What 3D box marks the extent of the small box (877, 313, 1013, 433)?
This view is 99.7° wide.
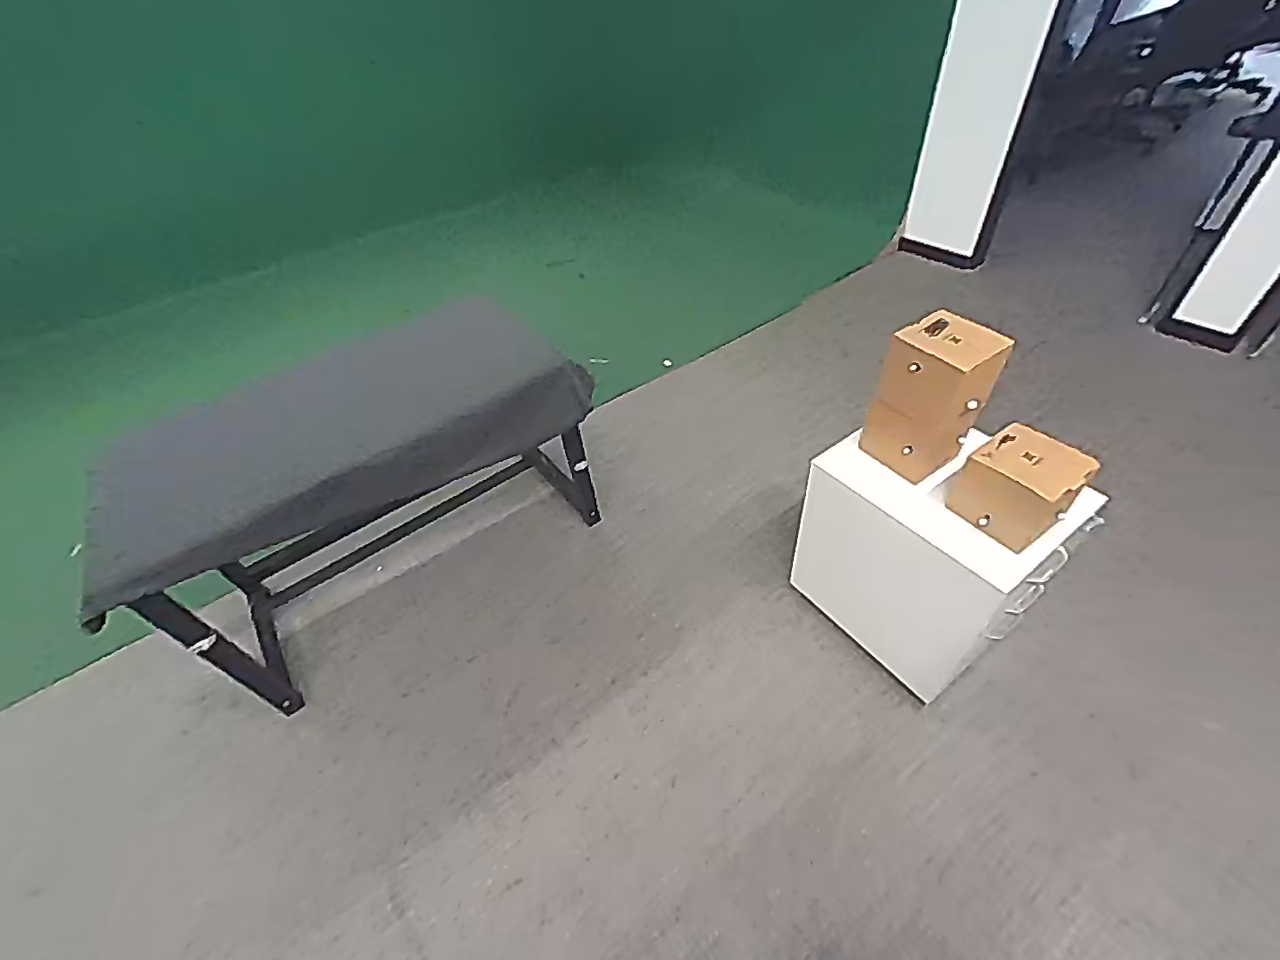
[{"bbox_3d":[0.656,-0.234,1.188,0.168,0.176,0.179,-28,51,-21],"label":"small box"}]

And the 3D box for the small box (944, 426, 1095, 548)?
[{"bbox_3d":[0.796,0.022,1.153,0.168,0.176,0.179,-28,50,-20],"label":"small box"}]

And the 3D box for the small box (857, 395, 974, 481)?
[{"bbox_3d":[0.661,-0.120,1.307,0.168,0.176,0.179,-28,49,-21],"label":"small box"}]
